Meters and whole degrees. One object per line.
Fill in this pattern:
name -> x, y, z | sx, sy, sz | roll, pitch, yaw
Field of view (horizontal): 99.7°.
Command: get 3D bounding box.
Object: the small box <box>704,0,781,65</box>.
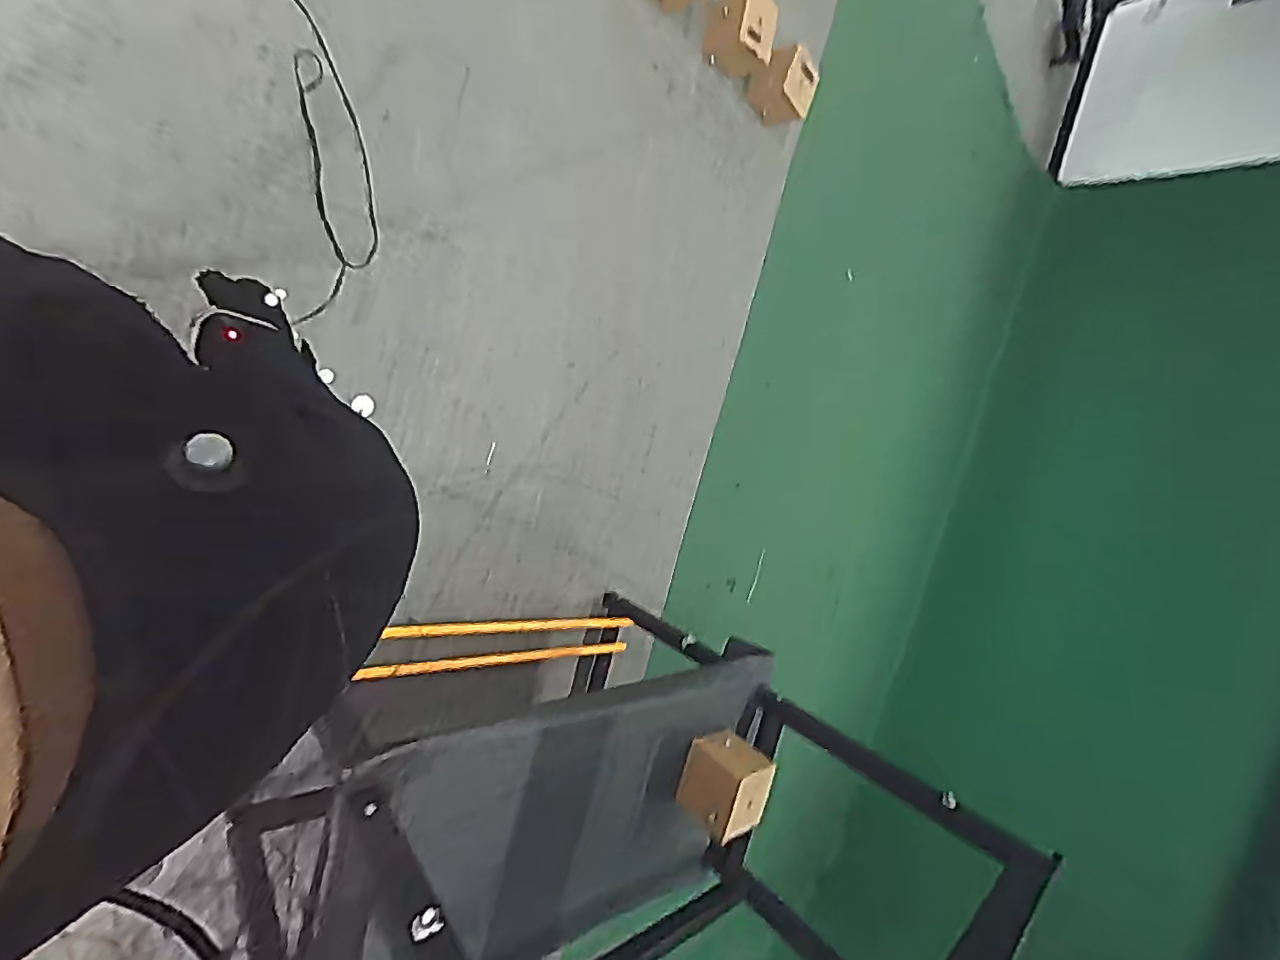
small box -> 0.334, -1.523, 1.787 | 0.168, 0.176, 0.179 | 1, 103, -44

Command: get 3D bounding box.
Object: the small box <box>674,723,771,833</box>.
small box -> 0.213, 0.782, 1.438 | 0.168, 0.176, 0.179 | 12, 96, -45
